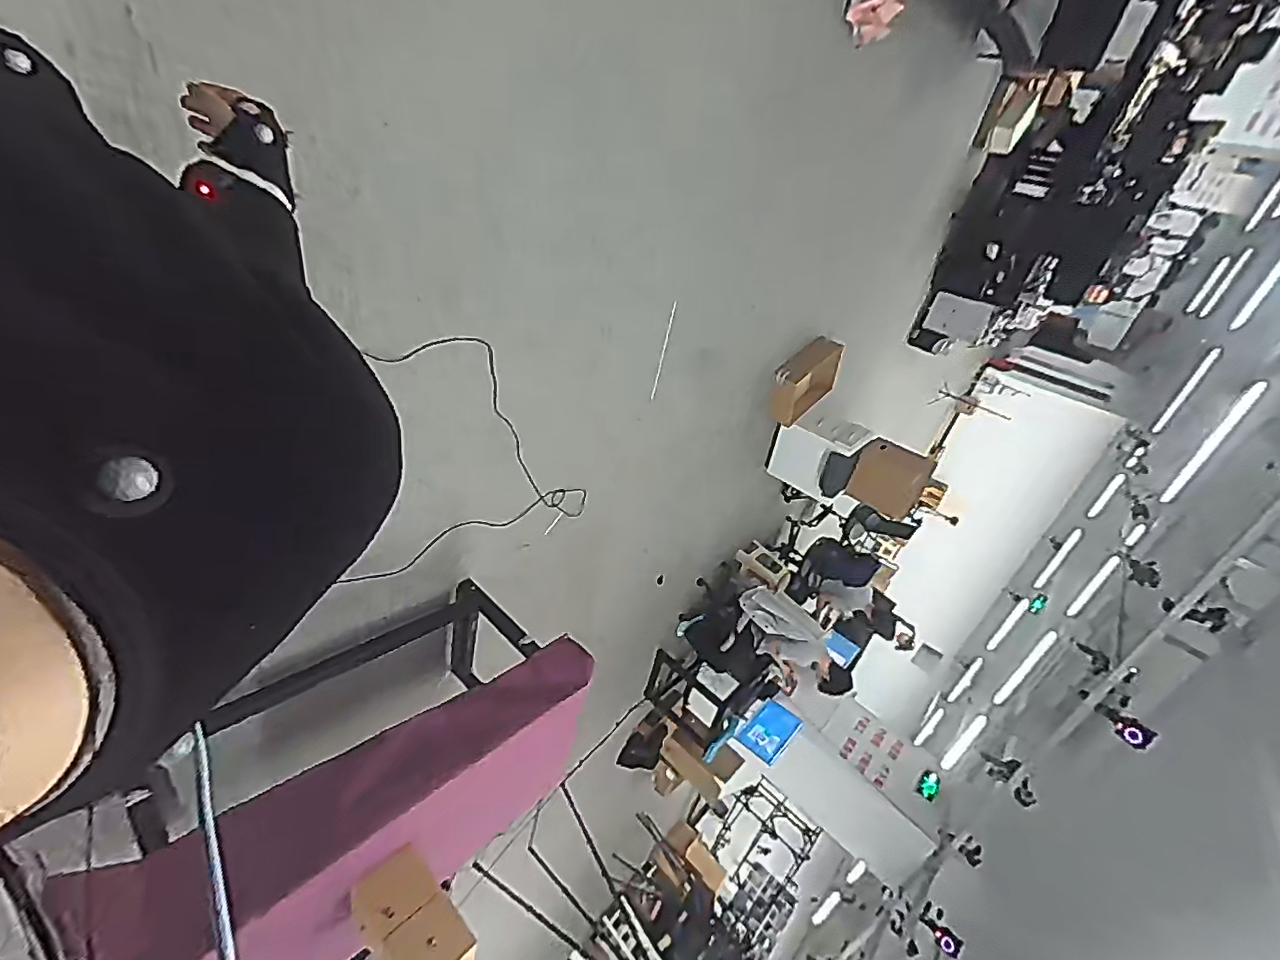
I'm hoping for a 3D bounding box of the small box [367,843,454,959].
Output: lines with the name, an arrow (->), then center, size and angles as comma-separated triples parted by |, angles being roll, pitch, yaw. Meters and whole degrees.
small box -> -0.654, 1.191, 1.530 | 0.179, 0.176, 0.168 | -19, 133, -46
